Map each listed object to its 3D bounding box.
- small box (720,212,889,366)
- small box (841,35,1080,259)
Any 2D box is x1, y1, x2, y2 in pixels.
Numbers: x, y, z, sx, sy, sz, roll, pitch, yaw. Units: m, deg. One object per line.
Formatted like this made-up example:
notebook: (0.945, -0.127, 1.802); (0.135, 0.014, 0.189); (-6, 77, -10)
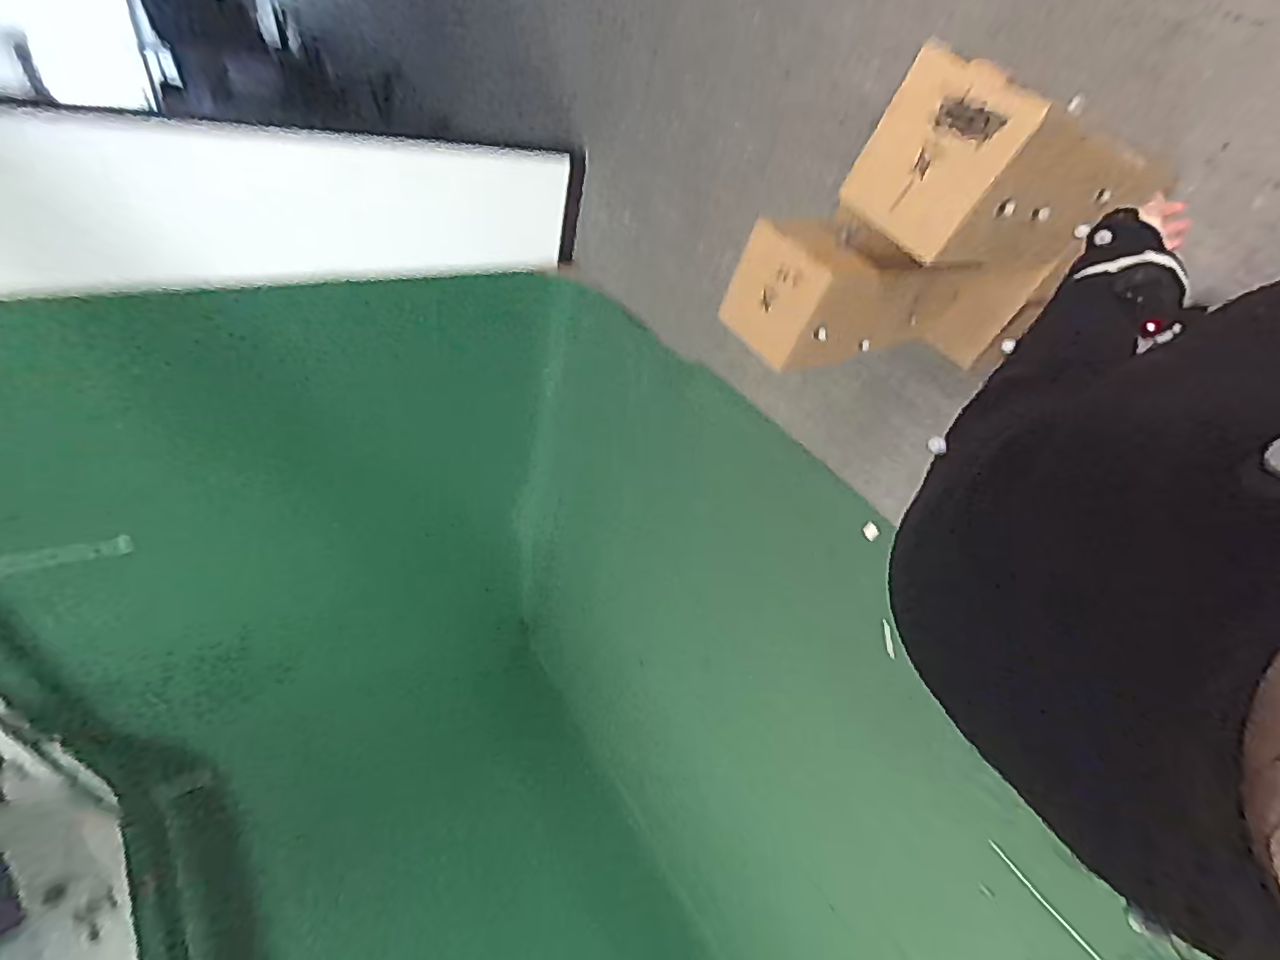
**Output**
small box: (0.268, -0.316, 0.891); (0.168, 0.176, 0.179); (53, 142, 26)
small box: (0.400, -0.403, 0.676); (0.168, 0.176, 0.179); (54, 142, 23)
